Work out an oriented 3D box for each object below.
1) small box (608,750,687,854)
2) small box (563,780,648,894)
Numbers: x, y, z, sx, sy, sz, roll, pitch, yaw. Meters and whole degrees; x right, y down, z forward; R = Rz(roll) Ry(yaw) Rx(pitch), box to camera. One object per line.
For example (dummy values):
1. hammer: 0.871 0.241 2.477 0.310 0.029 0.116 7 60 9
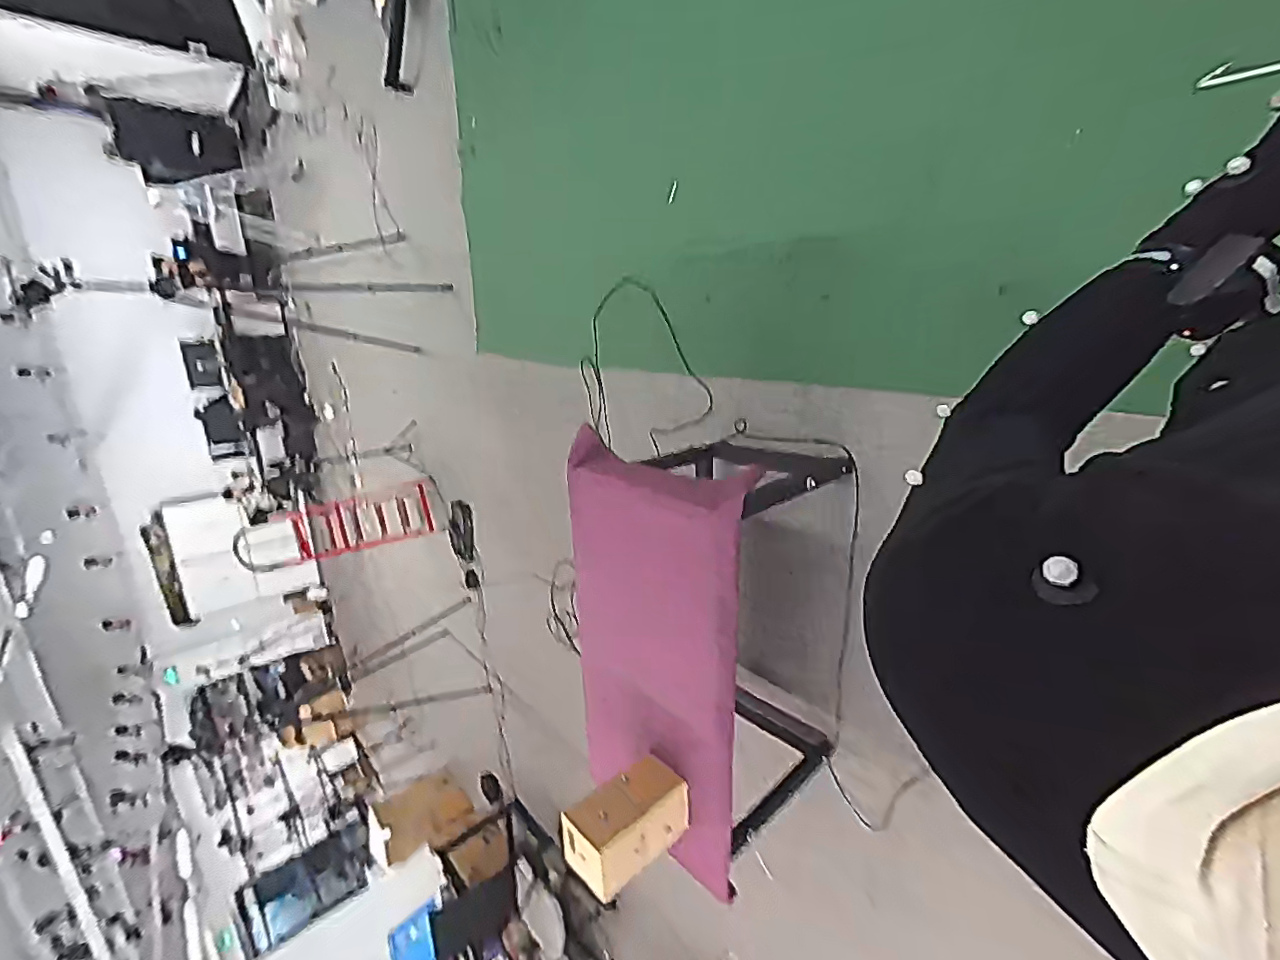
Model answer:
1. small box: 0.028 0.949 1.613 0.179 0.176 0.168 14 112 47
2. small box: -0.095 0.981 1.510 0.179 0.176 0.168 14 113 46
